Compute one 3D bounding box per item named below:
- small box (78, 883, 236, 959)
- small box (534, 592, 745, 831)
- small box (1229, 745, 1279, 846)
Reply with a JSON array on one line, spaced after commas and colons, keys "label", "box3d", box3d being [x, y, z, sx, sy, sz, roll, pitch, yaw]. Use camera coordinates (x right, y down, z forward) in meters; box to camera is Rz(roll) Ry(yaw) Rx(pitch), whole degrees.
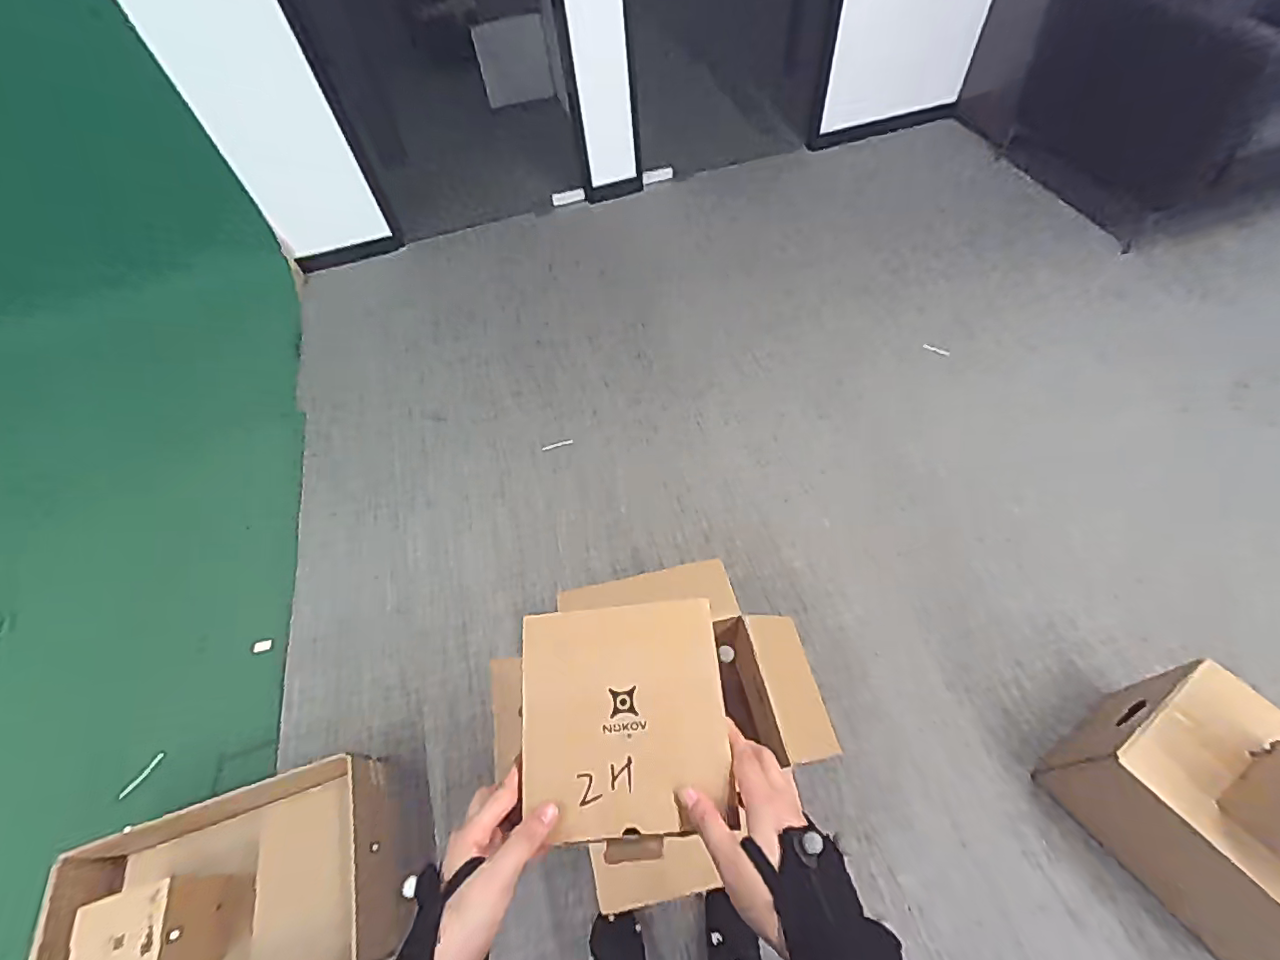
[{"label": "small box", "box3d": [-0.960, 0.931, 1.075, 0.179, 0.176, 0.168, -17, 54, -6]}, {"label": "small box", "box3d": [-0.002, 0.218, 0.520, 0.168, 0.176, 0.179, -6, 66, 2]}, {"label": "small box", "box3d": [1.099, 0.516, 0.834, 0.168, 0.176, 0.179, -33, 58, -14]}]
